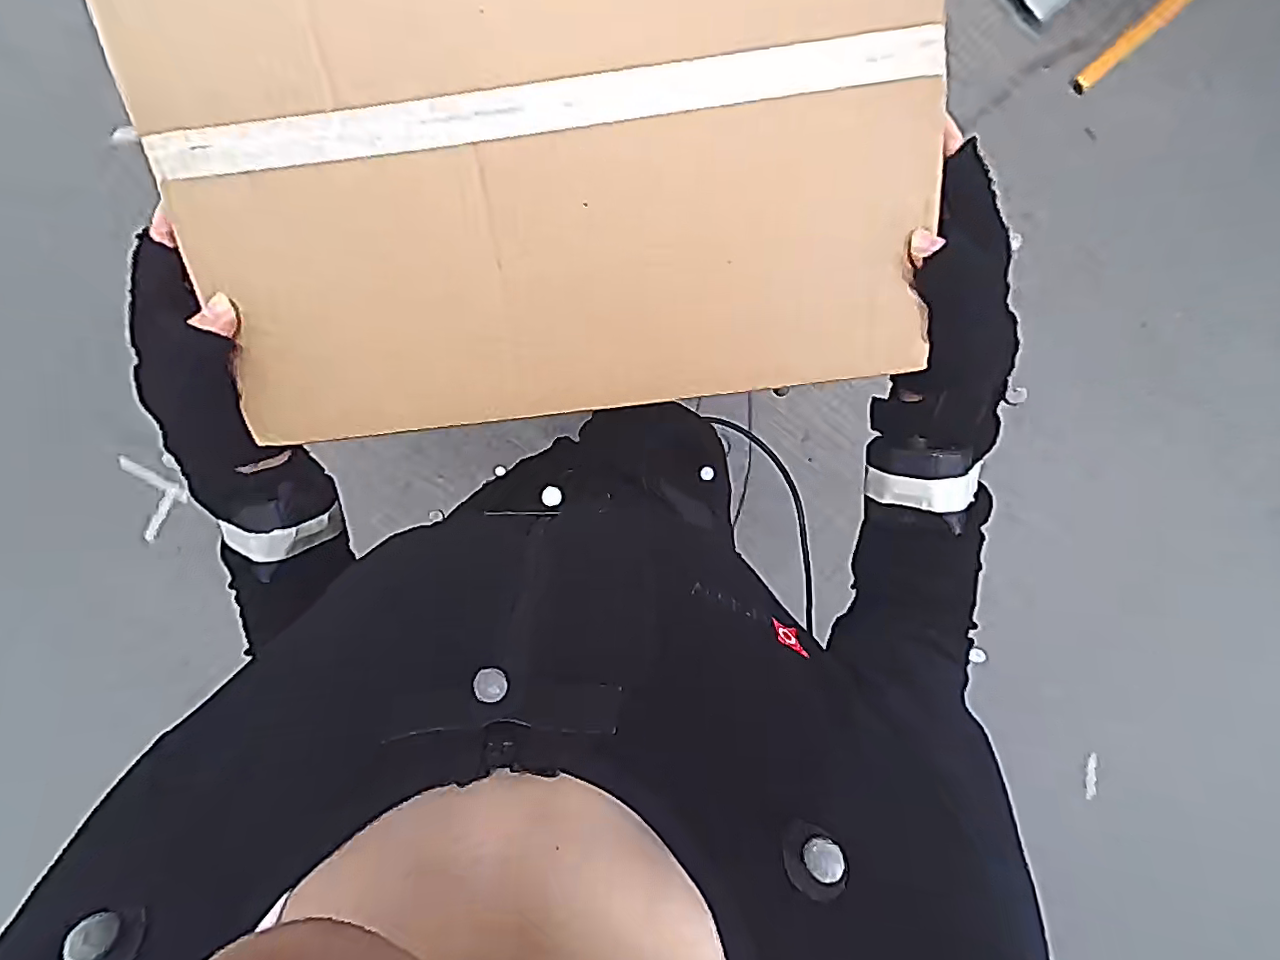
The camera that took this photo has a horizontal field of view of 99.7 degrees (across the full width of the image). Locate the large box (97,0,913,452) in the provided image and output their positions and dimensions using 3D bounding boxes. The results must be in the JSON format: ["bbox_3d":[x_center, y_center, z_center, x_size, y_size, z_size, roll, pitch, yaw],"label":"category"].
[{"bbox_3d":[-0.058,-0.240,0.423,0.408,0.320,0.320,-8,109,2],"label":"large box"}]
